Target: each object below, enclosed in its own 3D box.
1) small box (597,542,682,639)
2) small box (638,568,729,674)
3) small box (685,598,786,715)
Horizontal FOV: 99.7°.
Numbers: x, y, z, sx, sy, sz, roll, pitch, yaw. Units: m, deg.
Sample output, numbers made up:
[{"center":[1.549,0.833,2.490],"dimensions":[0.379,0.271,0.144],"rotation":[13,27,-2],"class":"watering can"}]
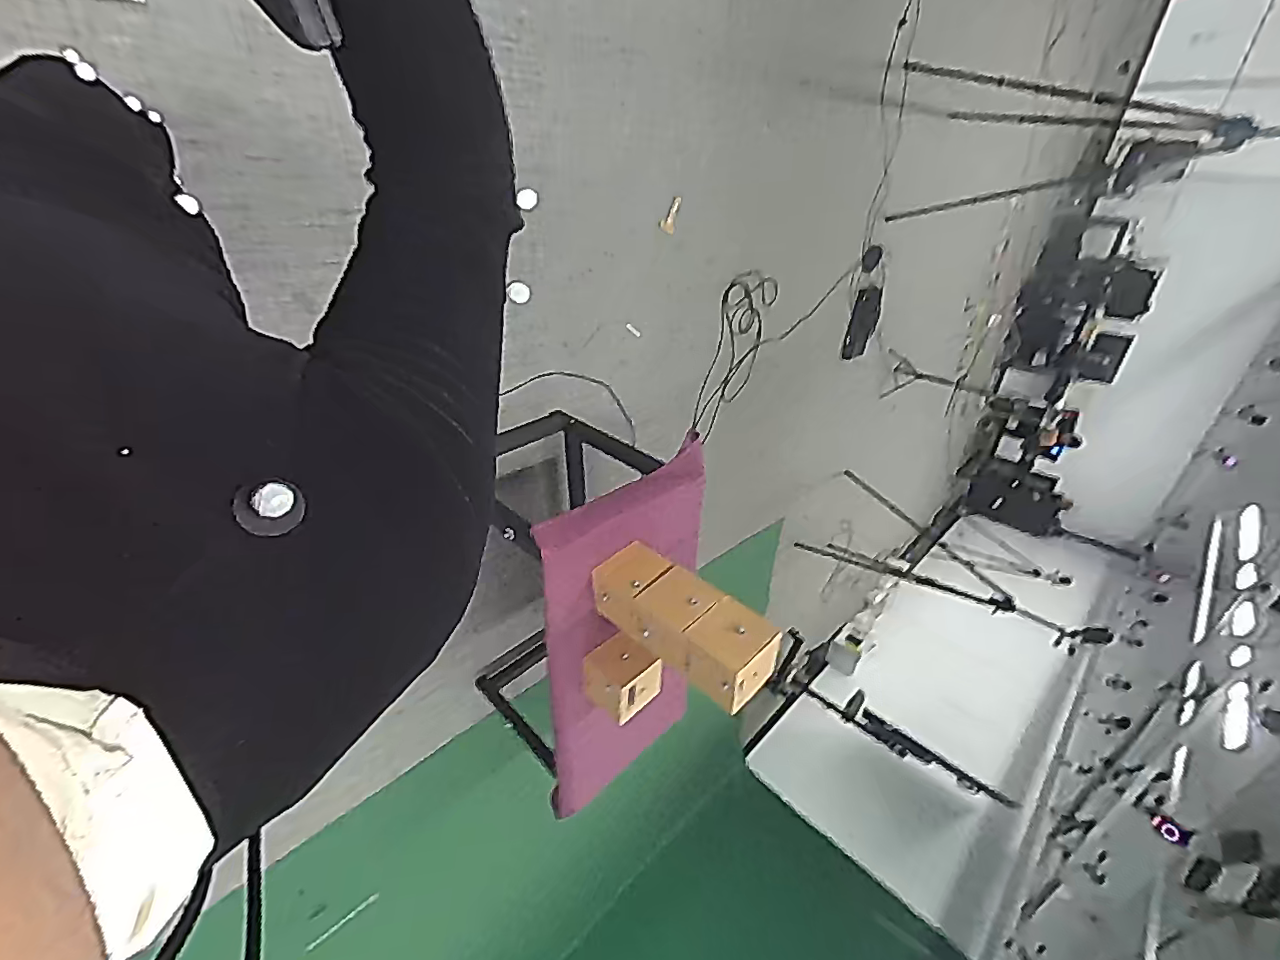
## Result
[{"center":[0.000,0.305,1.532],"dimensions":[0.179,0.176,0.168],"rotation":[-31,133,-33],"class":"small box"},{"center":[0.115,0.363,1.428],"dimensions":[0.179,0.176,0.168],"rotation":[-32,133,-33],"class":"small box"},{"center":[0.231,0.425,1.330],"dimensions":[0.179,0.176,0.168],"rotation":[-30,133,-35],"class":"small box"}]
